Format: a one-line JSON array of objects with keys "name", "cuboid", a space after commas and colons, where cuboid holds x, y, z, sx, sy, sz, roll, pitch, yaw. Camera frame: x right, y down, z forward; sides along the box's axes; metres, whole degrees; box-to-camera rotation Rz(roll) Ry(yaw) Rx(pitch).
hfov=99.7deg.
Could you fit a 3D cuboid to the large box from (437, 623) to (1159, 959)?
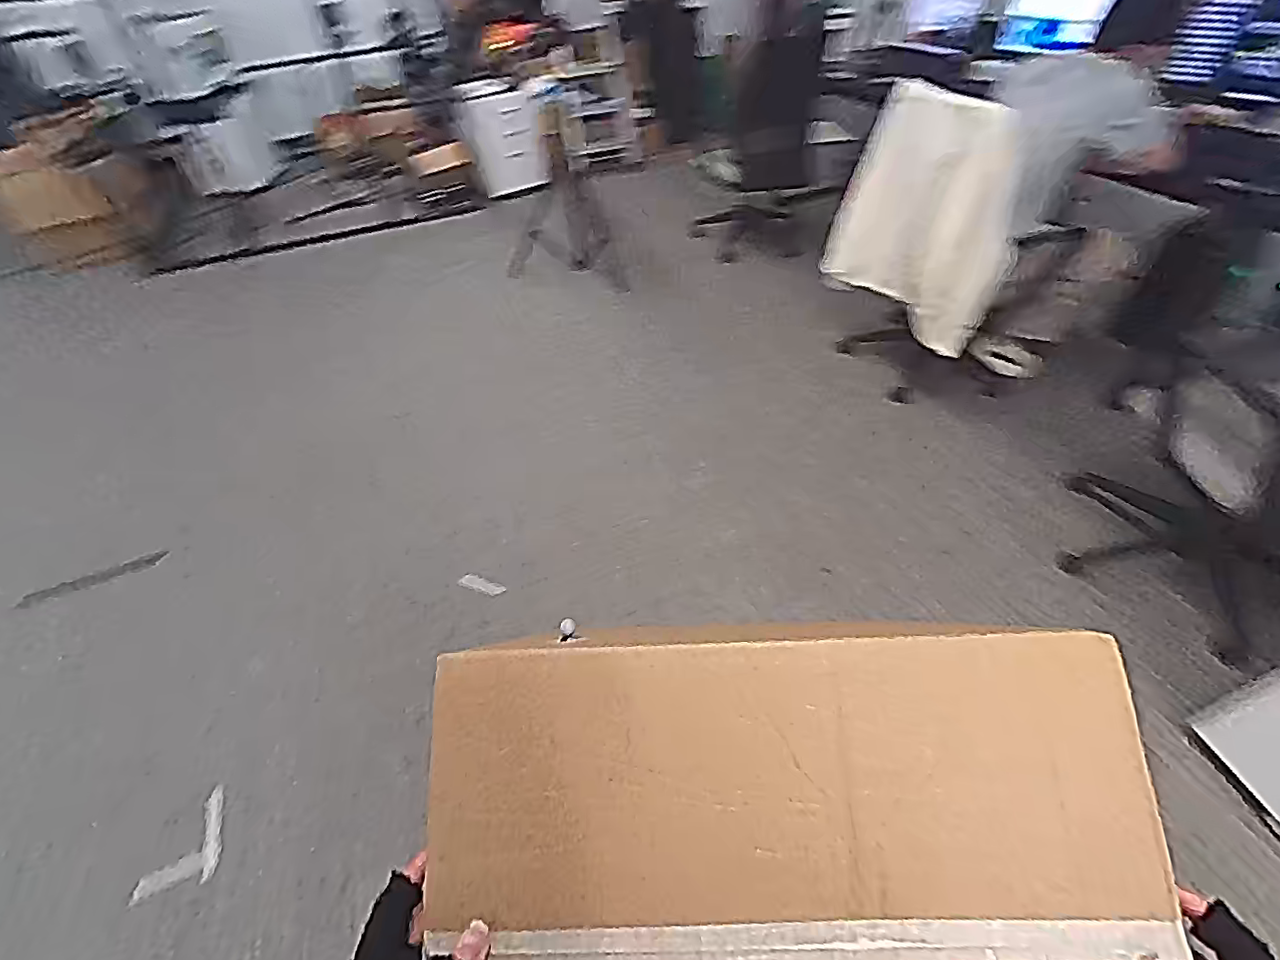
[{"name": "large box", "cuboid": [0.086, 0.291, 0.447, 0.408, 0.320, 0.320, -4, 77, 2]}]
